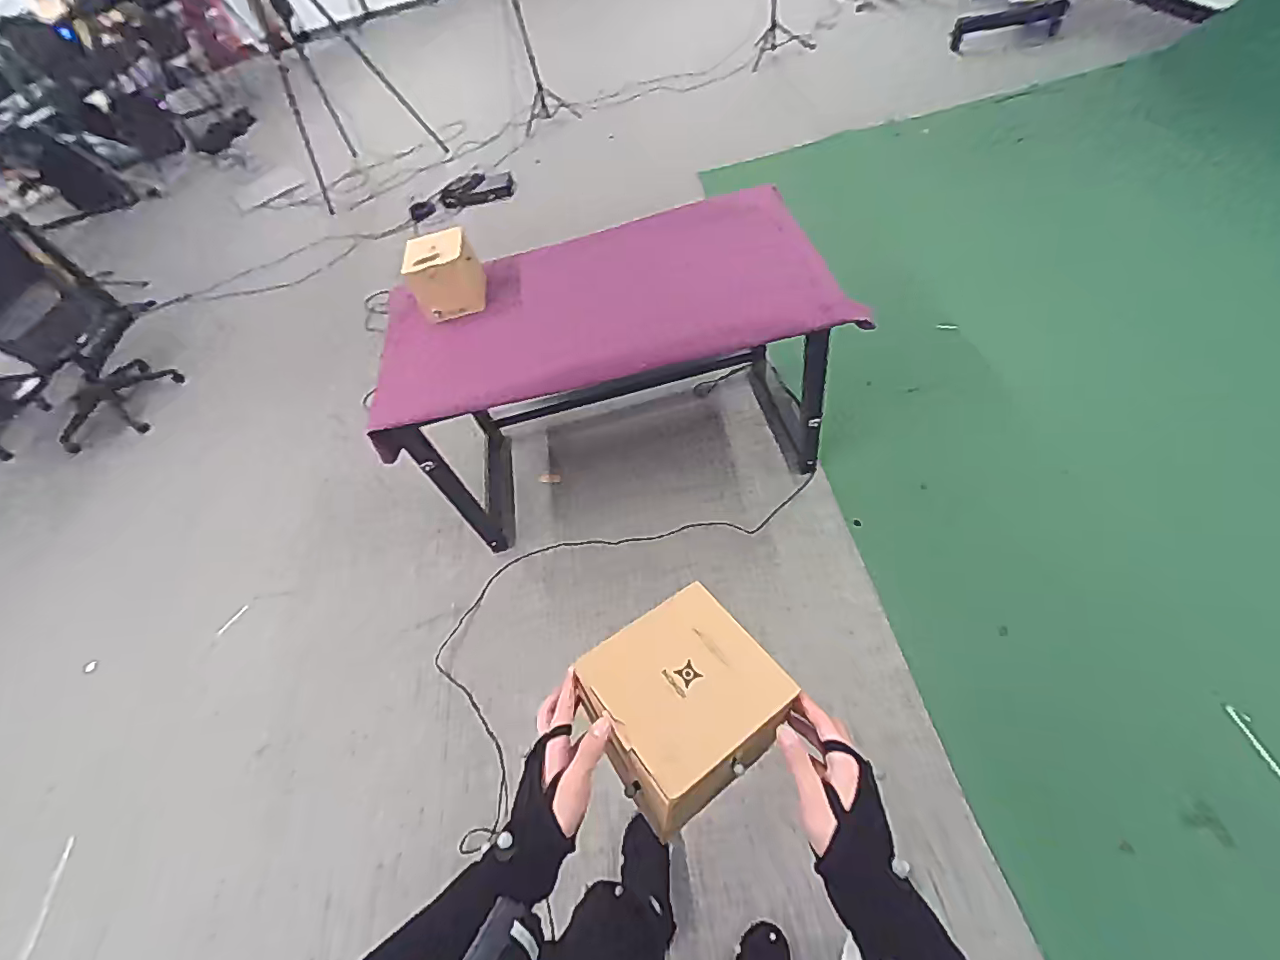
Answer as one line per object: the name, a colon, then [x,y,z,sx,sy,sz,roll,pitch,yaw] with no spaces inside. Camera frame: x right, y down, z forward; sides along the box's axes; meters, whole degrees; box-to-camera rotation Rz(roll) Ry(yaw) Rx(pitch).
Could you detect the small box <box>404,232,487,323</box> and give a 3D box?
small box: [-0.549,-0.570,1.550,0.168,0.176,0.179,-14,52,3]
